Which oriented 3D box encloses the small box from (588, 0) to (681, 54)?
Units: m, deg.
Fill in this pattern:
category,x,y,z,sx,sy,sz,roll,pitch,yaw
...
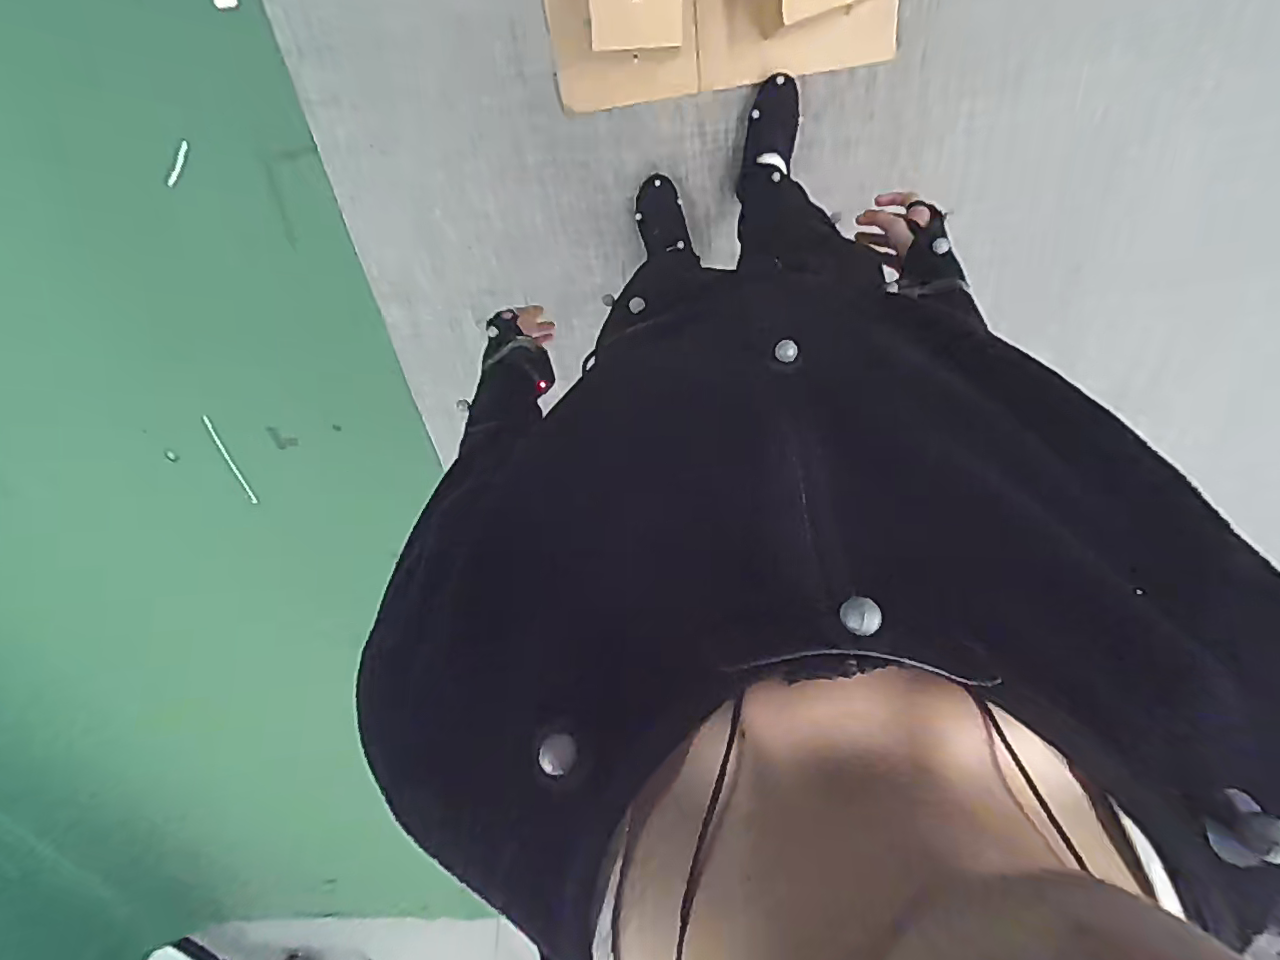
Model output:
category,x,y,z,sx,sy,sz,roll,pitch,yaw
small box,-0.008,-0.905,0.997,0.168,0.176,0.179,-2,121,2
